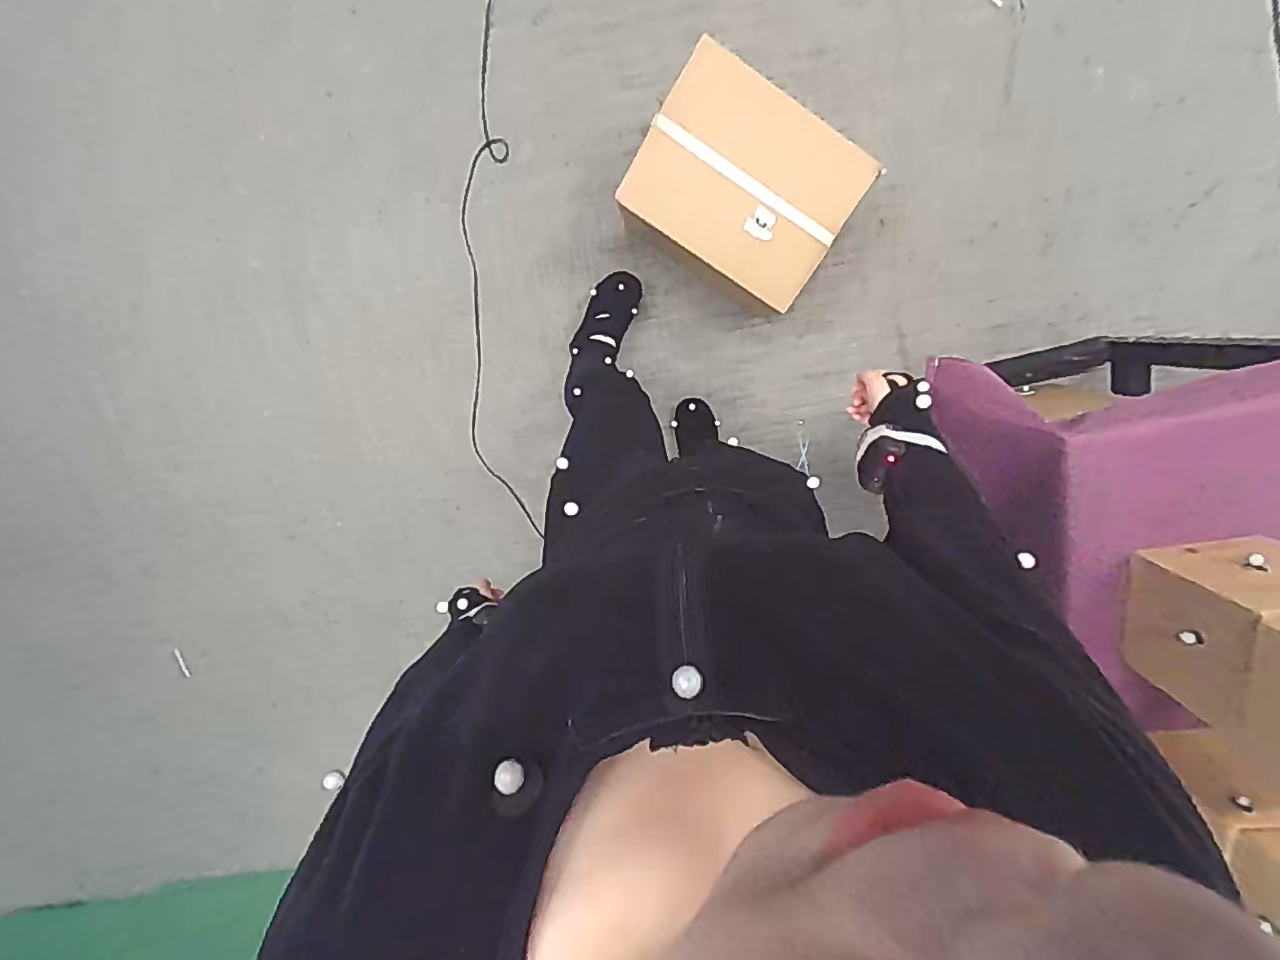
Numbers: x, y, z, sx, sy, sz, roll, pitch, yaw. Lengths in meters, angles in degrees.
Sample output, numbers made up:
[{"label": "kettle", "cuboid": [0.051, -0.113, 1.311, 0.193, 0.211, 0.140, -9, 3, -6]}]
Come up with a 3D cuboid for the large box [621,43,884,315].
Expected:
[{"label": "large box", "cuboid": [0.210, -0.595, 1.156, 0.408, 0.320, 0.320, 31, 106, -7]}]

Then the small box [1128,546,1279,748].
[{"label": "small box", "cuboid": [0.753, 0.191, 0.664, 0.168, 0.176, 0.179, -8, 105, 6]}]

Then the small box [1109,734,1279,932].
[{"label": "small box", "cuboid": [0.810, 0.473, 0.743, 0.179, 0.176, 0.168, -4, 105, 4]}]

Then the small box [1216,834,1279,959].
[{"label": "small box", "cuboid": [0.809, 0.518, 0.584, 0.179, 0.176, 0.168, -3, 105, 4]}]
